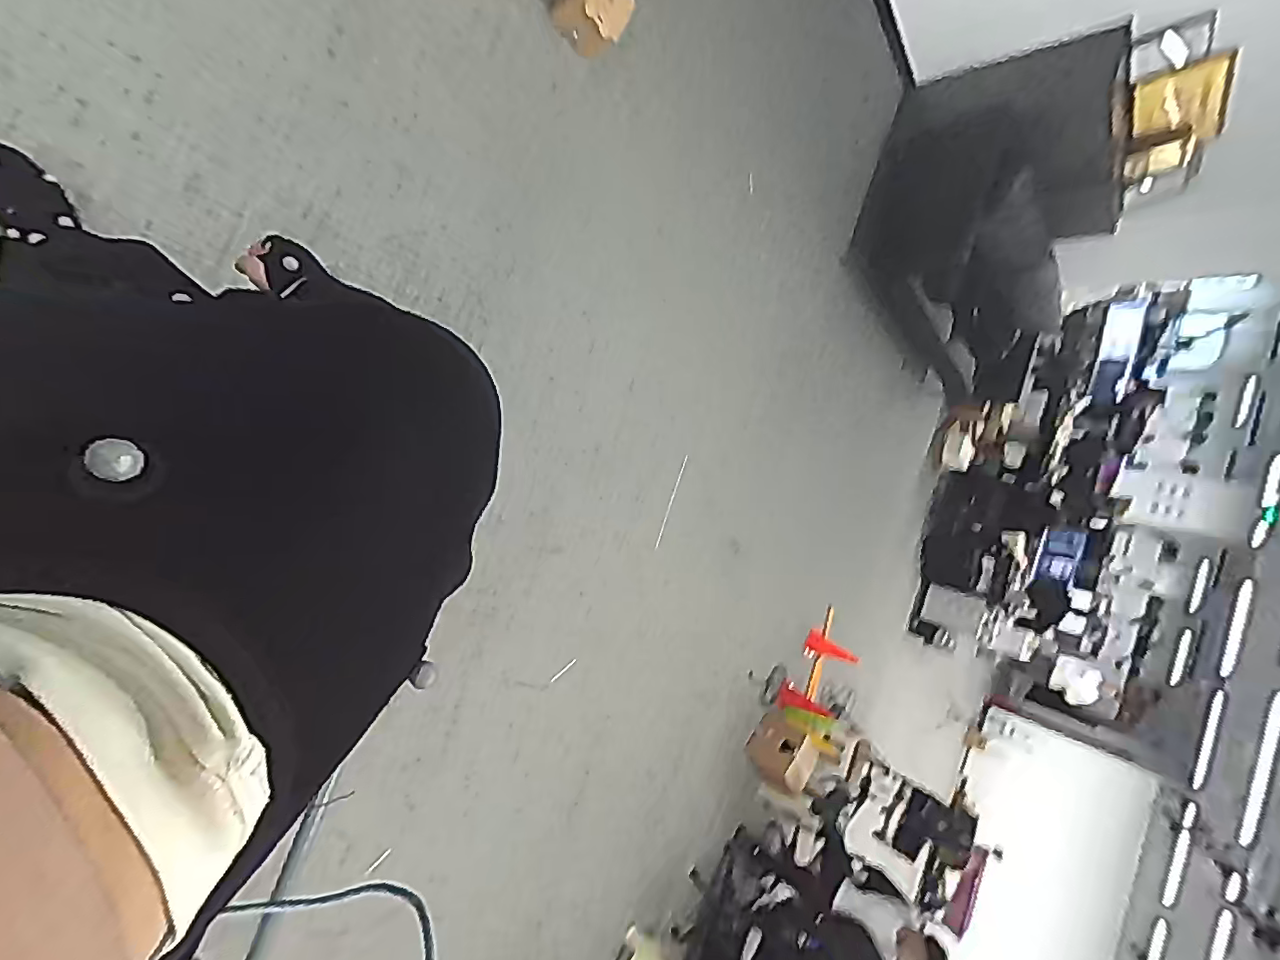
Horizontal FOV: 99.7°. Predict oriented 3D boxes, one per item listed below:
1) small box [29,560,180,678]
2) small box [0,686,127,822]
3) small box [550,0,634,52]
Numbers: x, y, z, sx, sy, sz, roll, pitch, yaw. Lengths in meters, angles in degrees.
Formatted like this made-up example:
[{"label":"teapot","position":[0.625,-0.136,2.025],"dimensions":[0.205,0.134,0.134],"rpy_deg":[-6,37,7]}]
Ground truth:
[{"label":"small box","position":[-1.041,0.267,1.054],"dimensions":[0.168,0.176,0.179],"rpy_deg":[22,85,-47]},{"label":"small box","position":[-1.131,0.513,1.033],"dimensions":[0.168,0.176,0.179],"rpy_deg":[28,81,-46]},{"label":"small box","position":[-0.156,-1.522,1.718],"dimensions":[0.168,0.176,0.179],"rpy_deg":[40,74,-42]}]
